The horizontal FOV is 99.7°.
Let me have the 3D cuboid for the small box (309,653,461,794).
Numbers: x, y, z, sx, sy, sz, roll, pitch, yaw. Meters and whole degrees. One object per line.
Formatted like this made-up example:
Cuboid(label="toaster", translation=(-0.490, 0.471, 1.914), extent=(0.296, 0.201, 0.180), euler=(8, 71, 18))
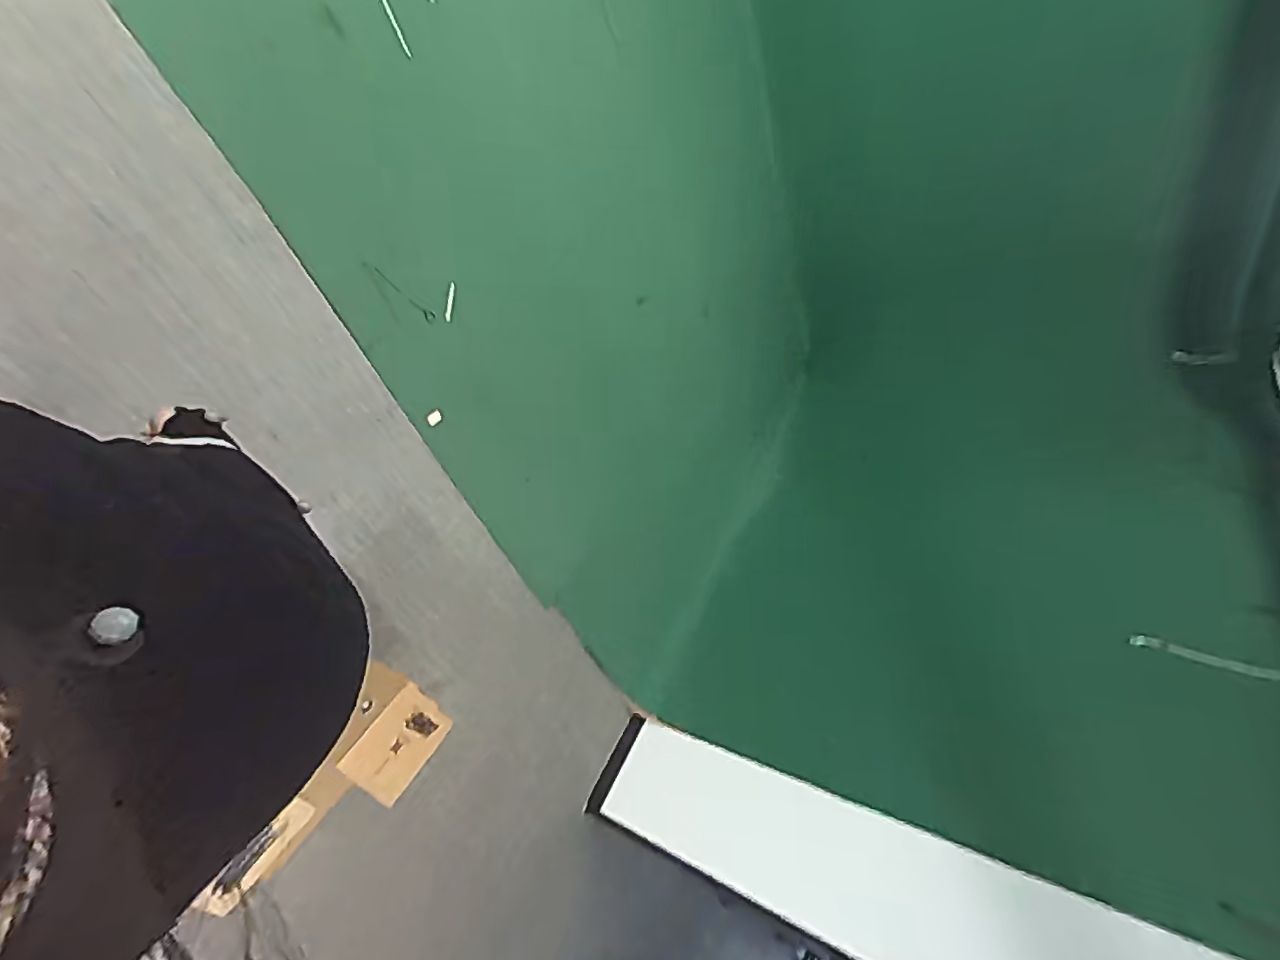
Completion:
Cuboid(label="small box", translation=(-0.502, 0.472, 1.070), extent=(0.179, 0.176, 0.168), euler=(-54, 136, -36))
